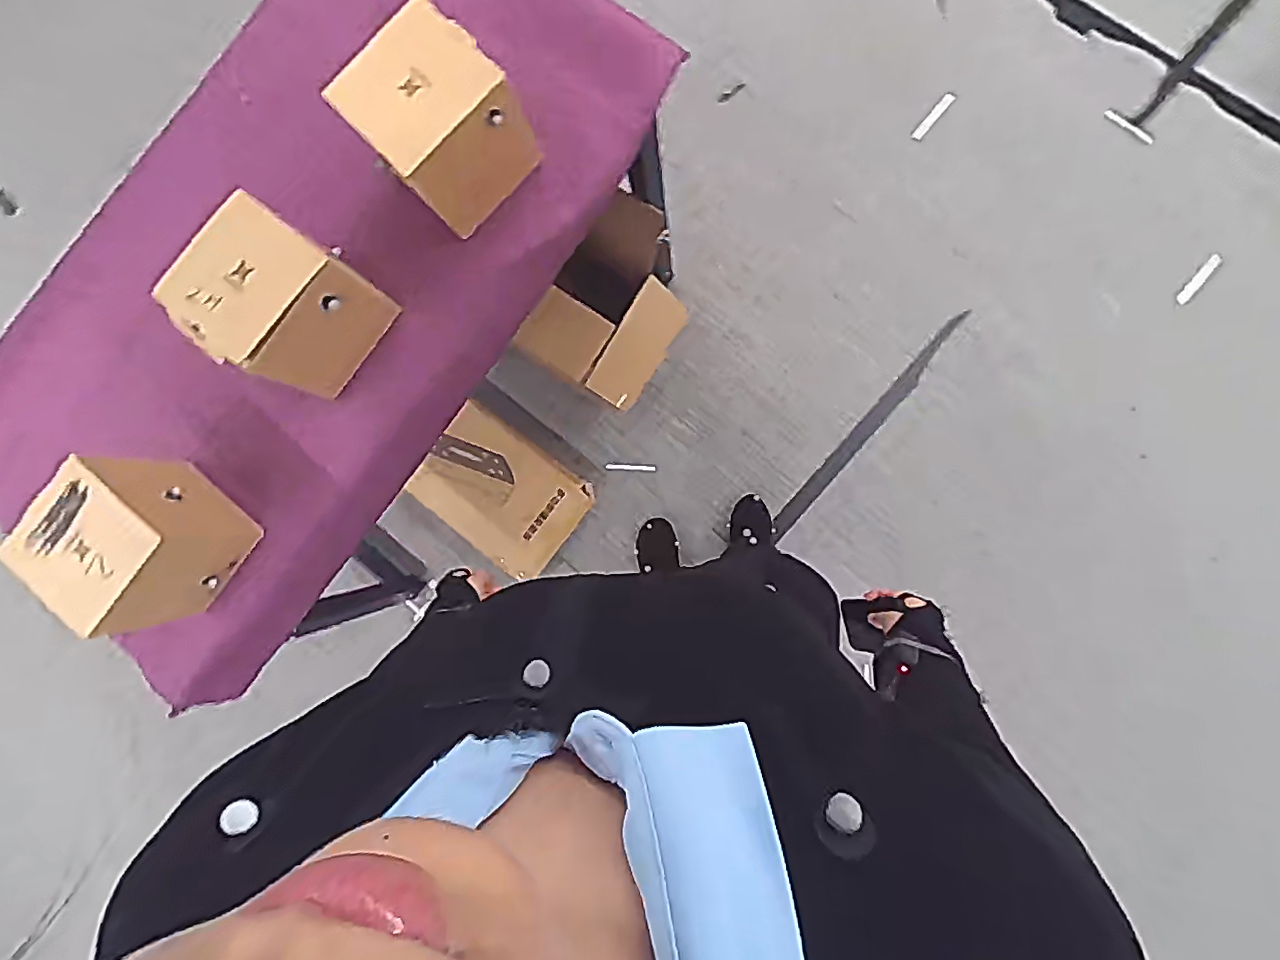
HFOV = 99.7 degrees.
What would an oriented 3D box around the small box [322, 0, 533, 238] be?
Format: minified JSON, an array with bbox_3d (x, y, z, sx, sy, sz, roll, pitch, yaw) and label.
[{"bbox_3d":[-0.275,-0.477,0.743,0.168,0.176,0.179,45,91,6],"label":"small box"}]

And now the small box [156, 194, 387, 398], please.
[{"bbox_3d":[-0.488,-0.240,0.750,0.168,0.176,0.179,38,91,9],"label":"small box"}]
